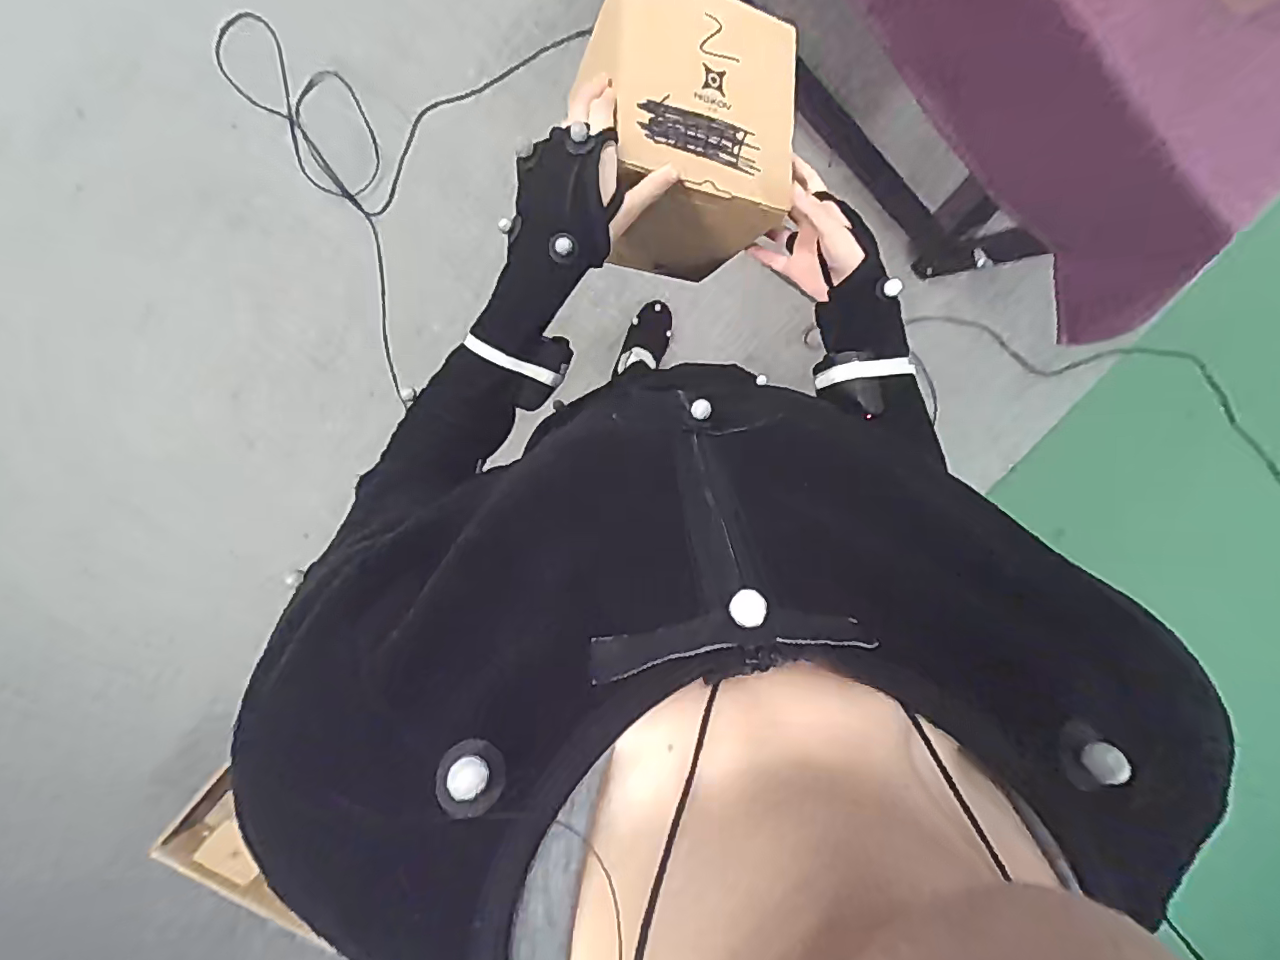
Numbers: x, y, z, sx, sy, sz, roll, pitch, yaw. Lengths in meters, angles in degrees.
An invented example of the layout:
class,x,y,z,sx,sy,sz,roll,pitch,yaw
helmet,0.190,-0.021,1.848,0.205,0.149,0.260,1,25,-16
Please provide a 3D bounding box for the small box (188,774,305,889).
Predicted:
class,x,y,z,sx,sy,sz,roll,pitch,yaw
small box,-1.097,0.985,1.526,0.168,0.176,0.179,42,96,-13
